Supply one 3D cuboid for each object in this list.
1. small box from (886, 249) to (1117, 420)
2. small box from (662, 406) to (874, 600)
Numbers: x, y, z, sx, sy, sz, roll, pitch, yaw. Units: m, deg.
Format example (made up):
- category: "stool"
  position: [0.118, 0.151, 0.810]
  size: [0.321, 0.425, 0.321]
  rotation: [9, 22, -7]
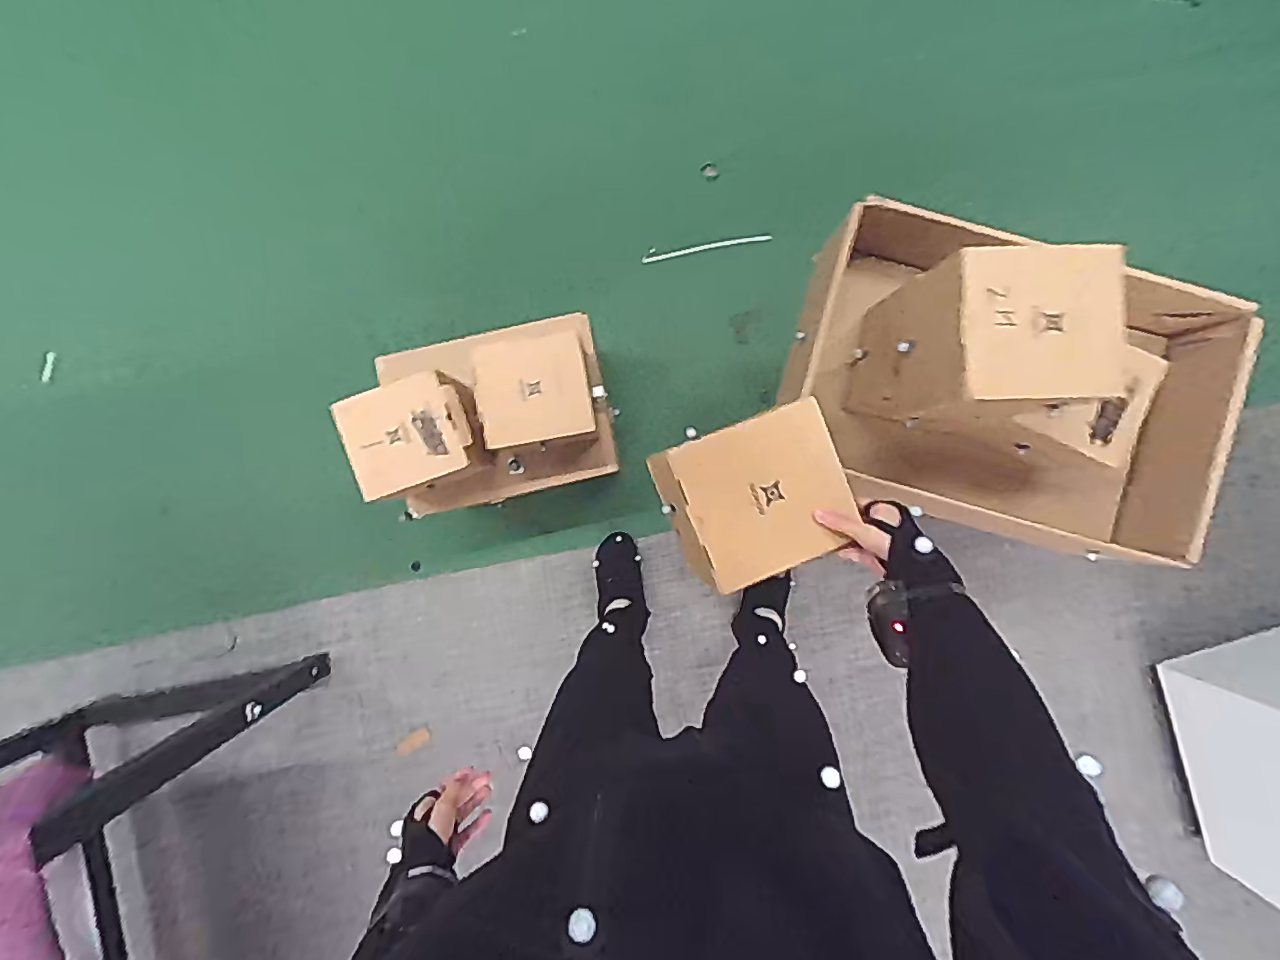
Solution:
- category: "small box"
  position: [0.426, -0.167, 0.662]
  size: [0.179, 0.176, 0.168]
  rotation: [-1, 89, -1]
- category: "small box"
  position: [0.141, 0.023, 0.657]
  size: [0.179, 0.176, 0.168]
  rotation: [-21, 91, -5]
